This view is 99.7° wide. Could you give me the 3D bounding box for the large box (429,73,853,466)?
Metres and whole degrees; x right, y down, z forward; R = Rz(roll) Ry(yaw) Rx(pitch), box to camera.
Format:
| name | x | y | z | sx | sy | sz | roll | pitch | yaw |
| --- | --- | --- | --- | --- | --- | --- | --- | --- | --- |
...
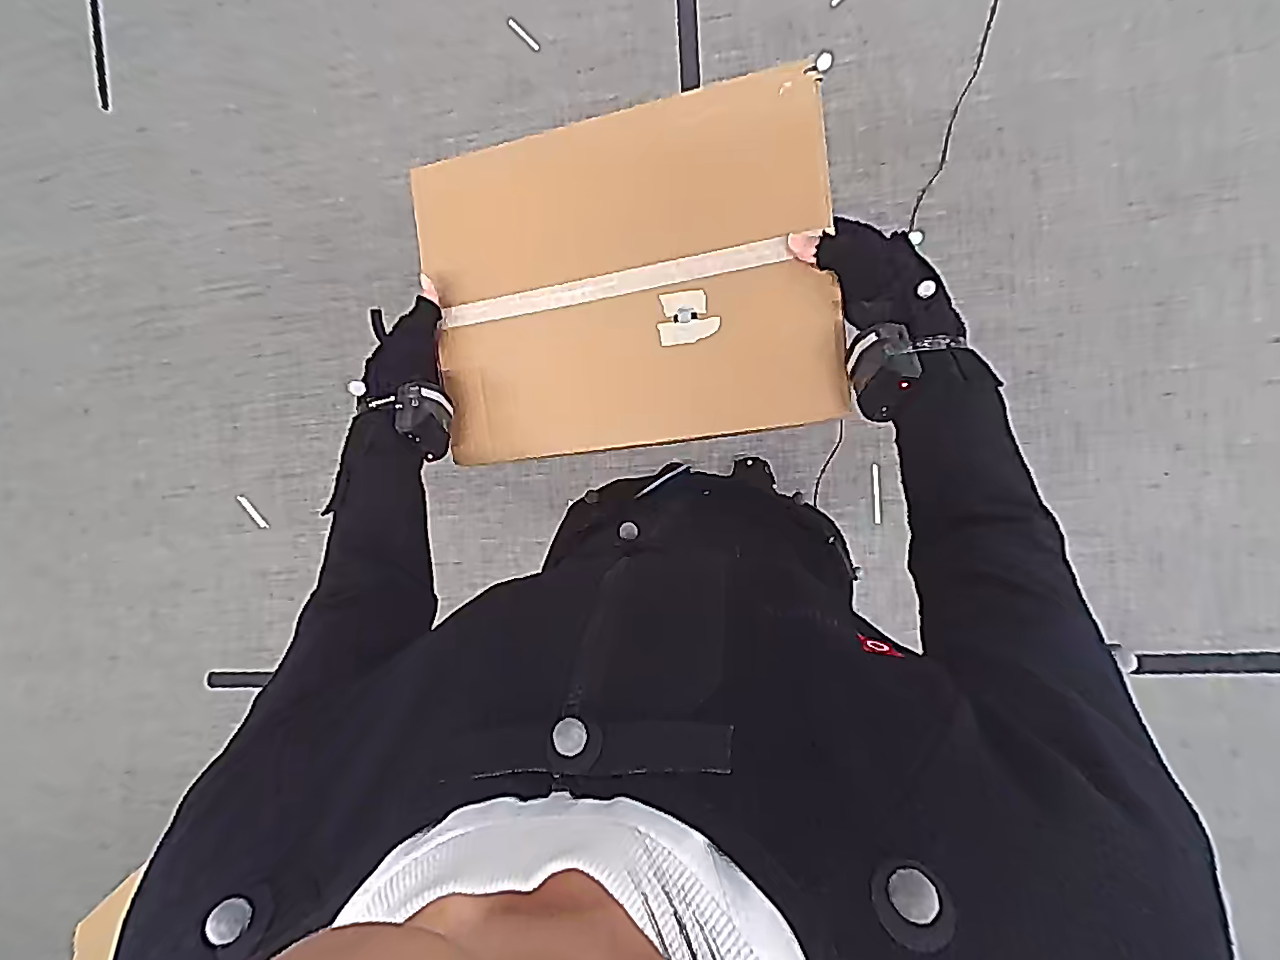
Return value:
| name | x | y | z | sx | sy | sz | roll | pitch | yaw |
| --- | --- | --- | --- | --- | --- | --- | --- | --- | --- |
| large box | 0.016 | -0.204 | 0.682 | 0.408 | 0.320 | 0.320 | -7 | 94 | 13 |
